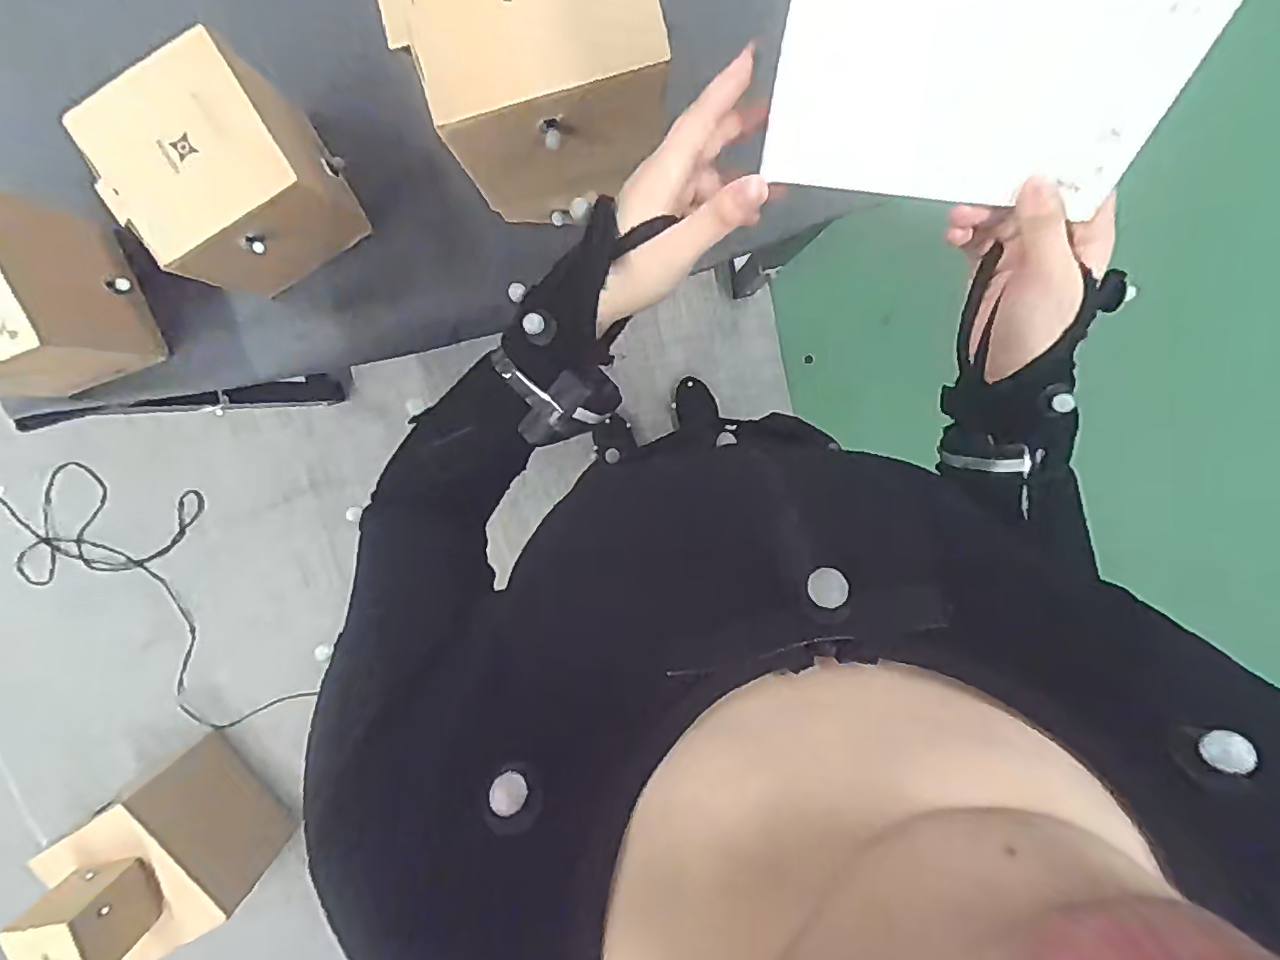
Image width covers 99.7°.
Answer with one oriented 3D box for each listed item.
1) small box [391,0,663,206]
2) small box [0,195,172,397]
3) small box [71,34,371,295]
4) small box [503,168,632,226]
[{"bbox_3d":[-0.087,-0.359,0.452,0.179,0.176,0.168,-15,98,3],"label":"small box"},{"bbox_3d":[-0.731,-0.205,0.644,0.168,0.176,0.179,-19,98,3],"label":"small box"},{"bbox_3d":[-0.458,-0.338,0.624,0.179,0.176,0.168,-30,98,4],"label":"small box"},{"bbox_3d":[-0.093,-0.407,0.609,0.168,0.176,0.179,2,99,1],"label":"small box"}]
